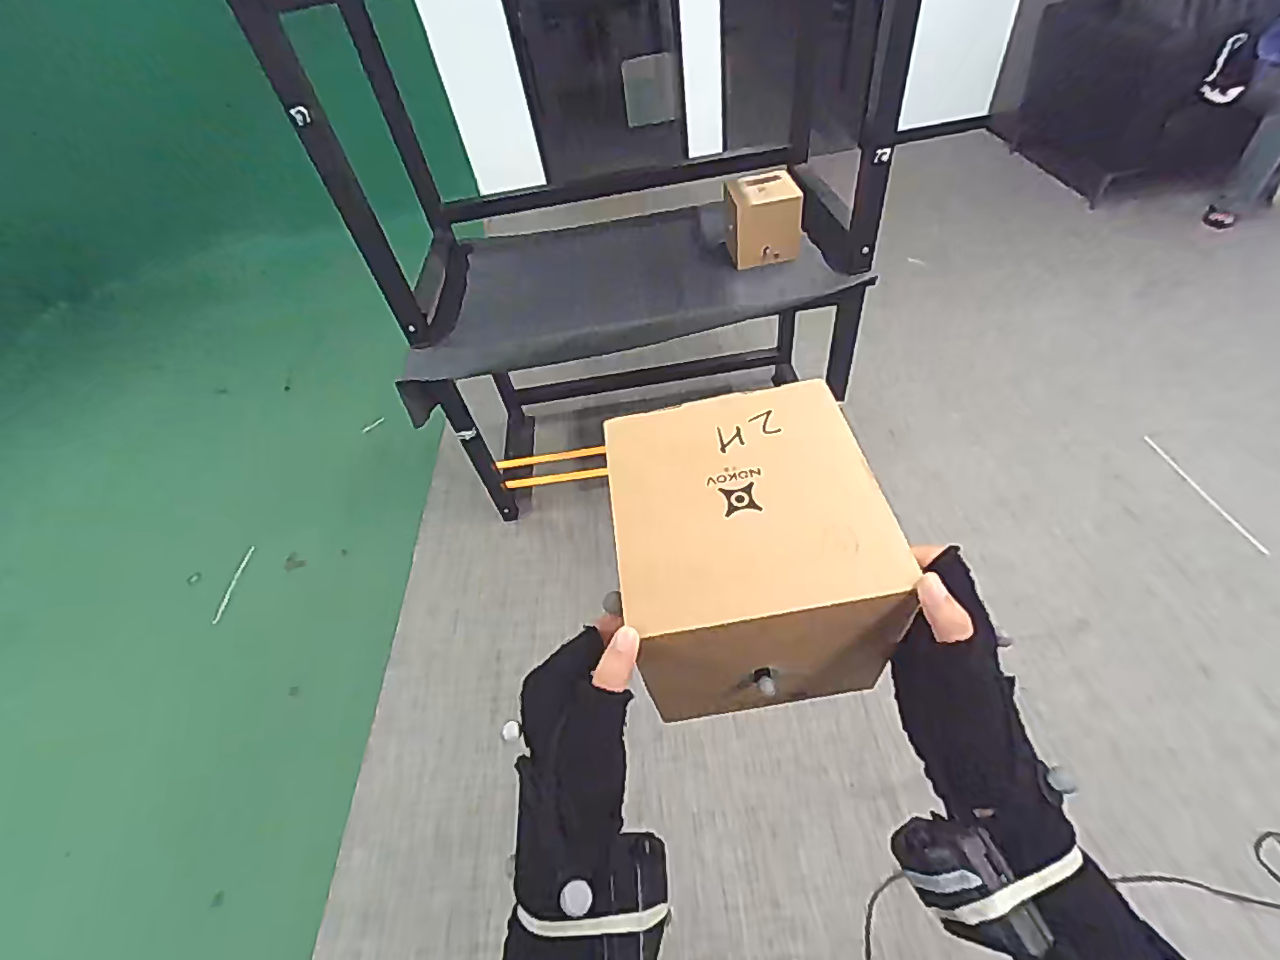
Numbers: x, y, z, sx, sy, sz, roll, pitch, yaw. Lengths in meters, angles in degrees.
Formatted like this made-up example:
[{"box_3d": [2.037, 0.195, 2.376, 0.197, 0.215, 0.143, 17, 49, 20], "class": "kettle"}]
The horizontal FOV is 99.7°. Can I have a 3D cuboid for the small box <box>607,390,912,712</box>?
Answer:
[{"box_3d": [0.076, 0.063, 0.415, 0.168, 0.176, 0.179, -11, 50, 2], "class": "small box"}]
